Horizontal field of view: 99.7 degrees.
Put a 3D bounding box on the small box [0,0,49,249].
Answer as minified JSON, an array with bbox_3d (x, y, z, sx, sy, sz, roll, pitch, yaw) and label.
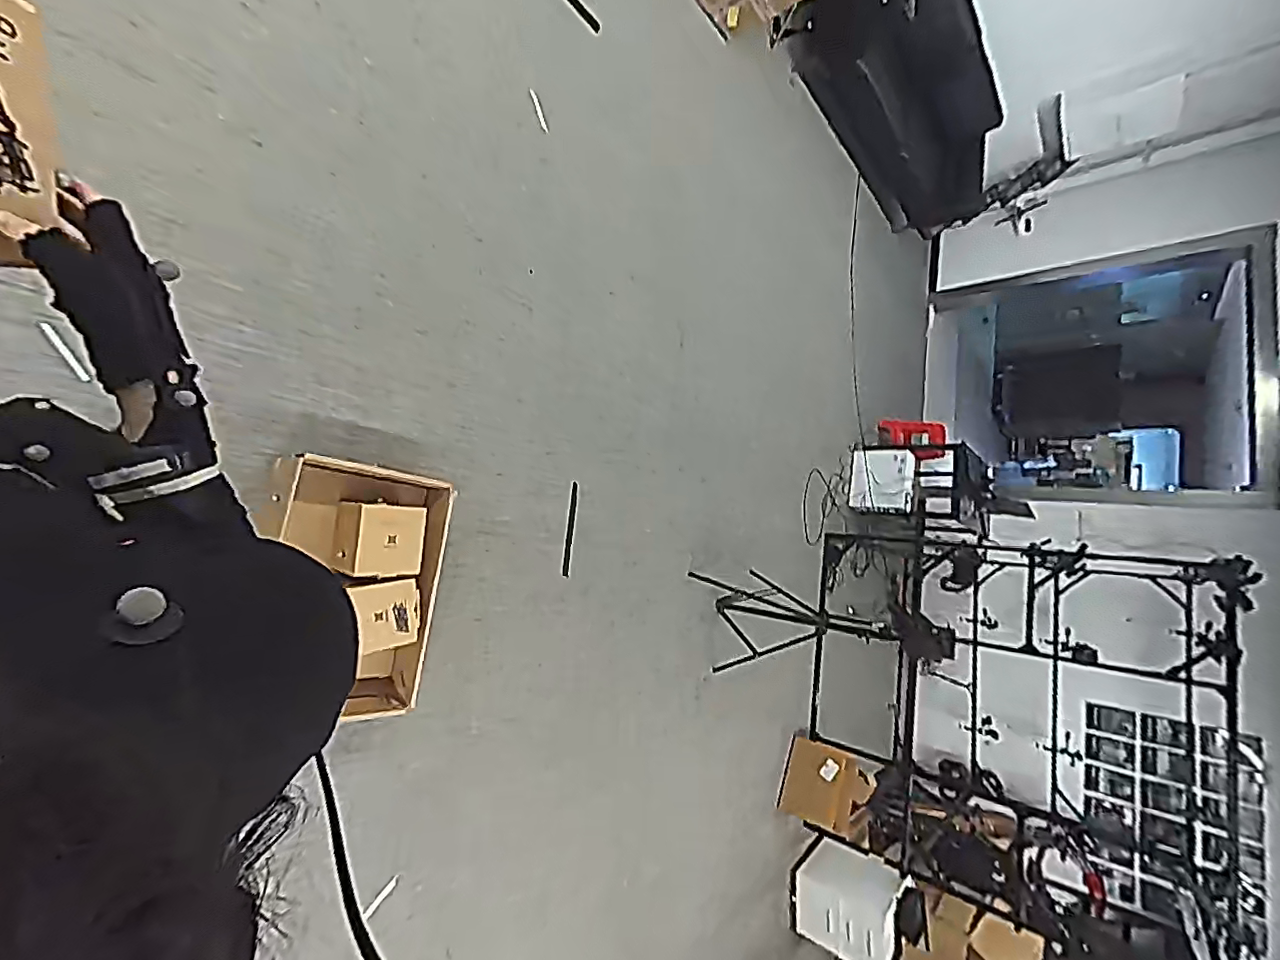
[{"bbox_3d":[-0.511,-0.243,0.324,0.179,0.176,0.168,-11,110,-61],"label":"small box"}]
